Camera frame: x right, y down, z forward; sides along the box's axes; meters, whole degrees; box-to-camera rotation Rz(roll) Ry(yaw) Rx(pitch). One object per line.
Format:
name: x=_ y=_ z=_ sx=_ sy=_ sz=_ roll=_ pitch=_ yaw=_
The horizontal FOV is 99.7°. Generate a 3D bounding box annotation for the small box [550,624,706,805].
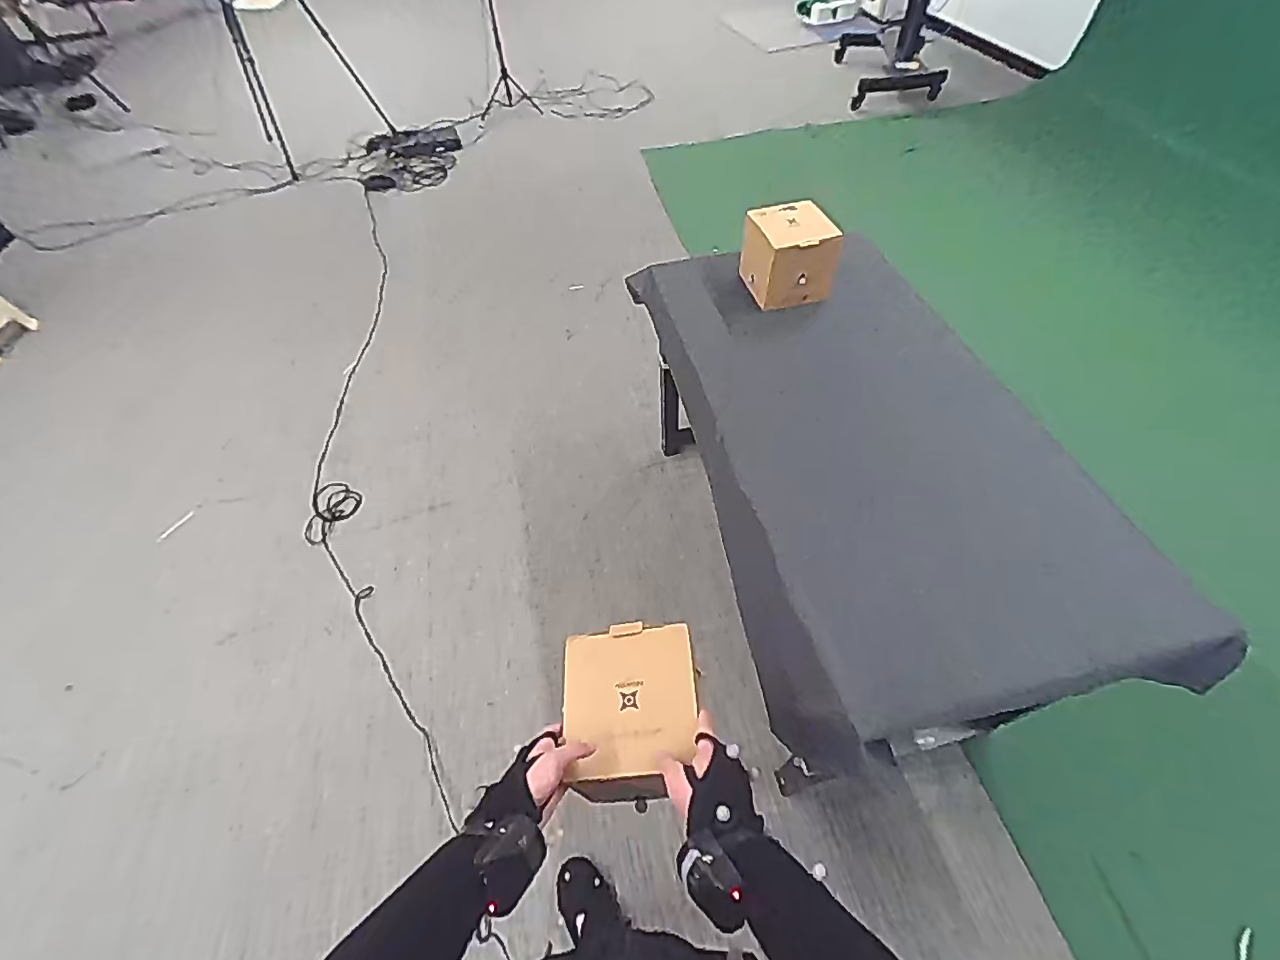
small box: x=-0.007 y=0.309 z=0.706 sx=0.168 sy=0.176 sz=0.179 roll=-7 pitch=51 yaw=8

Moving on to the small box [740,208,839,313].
small box: x=0.354 y=-0.525 z=1.313 sx=0.168 sy=0.176 sz=0.179 roll=-13 pitch=55 yaw=-7
